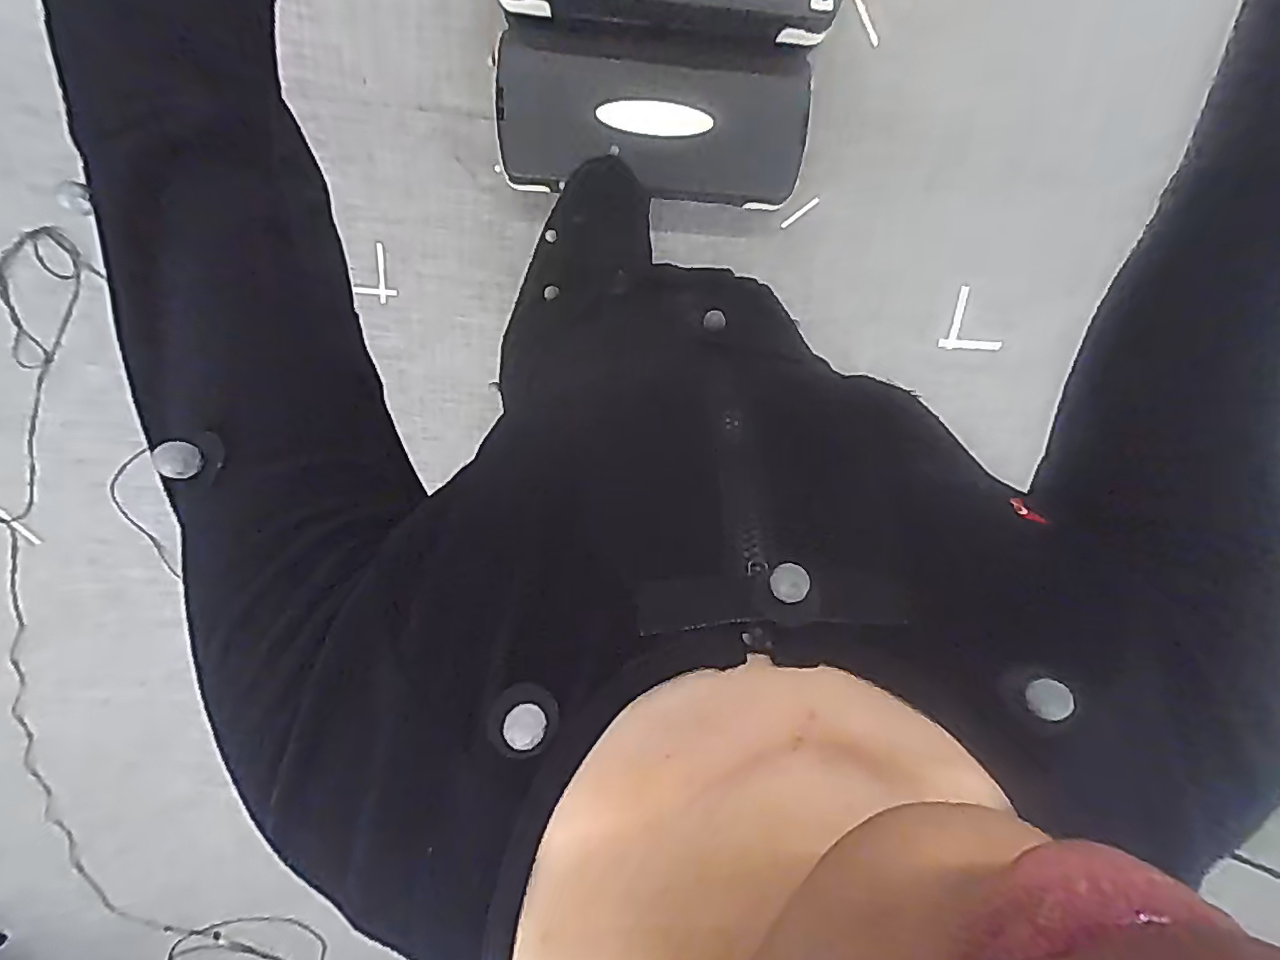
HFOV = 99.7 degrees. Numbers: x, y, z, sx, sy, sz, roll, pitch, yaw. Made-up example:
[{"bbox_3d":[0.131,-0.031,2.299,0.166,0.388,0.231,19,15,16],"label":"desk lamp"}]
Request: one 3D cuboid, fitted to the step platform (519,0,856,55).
[{"bbox_3d":[0.094,-1.048,1.041,0.684,0.204,0.286,1,111,-5],"label":"step platform"}]
